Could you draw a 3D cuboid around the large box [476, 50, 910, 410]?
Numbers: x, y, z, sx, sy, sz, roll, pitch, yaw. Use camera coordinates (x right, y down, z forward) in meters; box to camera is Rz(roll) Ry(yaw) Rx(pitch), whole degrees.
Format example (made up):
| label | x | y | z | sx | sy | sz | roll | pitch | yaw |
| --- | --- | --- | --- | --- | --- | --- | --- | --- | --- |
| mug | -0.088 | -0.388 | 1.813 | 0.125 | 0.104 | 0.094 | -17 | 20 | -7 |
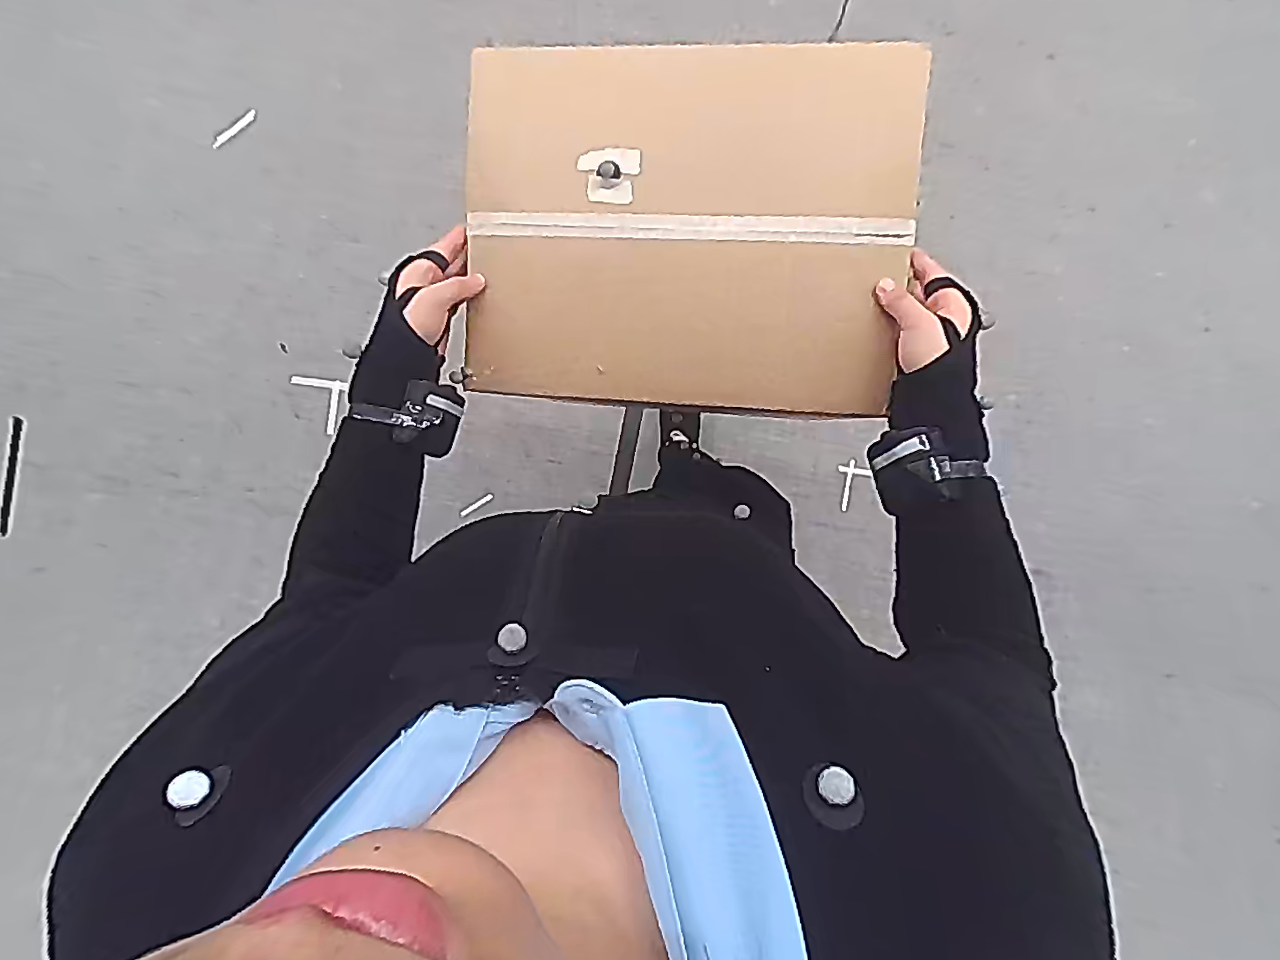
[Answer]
| label | x | y | z | sx | sy | sz | roll | pitch | yaw |
| --- | --- | --- | --- | --- | --- | --- | --- | --- | --- |
| large box | 0.056 | -0.246 | 0.656 | 0.408 | 0.320 | 0.320 | 3 | 95 | 7 |
